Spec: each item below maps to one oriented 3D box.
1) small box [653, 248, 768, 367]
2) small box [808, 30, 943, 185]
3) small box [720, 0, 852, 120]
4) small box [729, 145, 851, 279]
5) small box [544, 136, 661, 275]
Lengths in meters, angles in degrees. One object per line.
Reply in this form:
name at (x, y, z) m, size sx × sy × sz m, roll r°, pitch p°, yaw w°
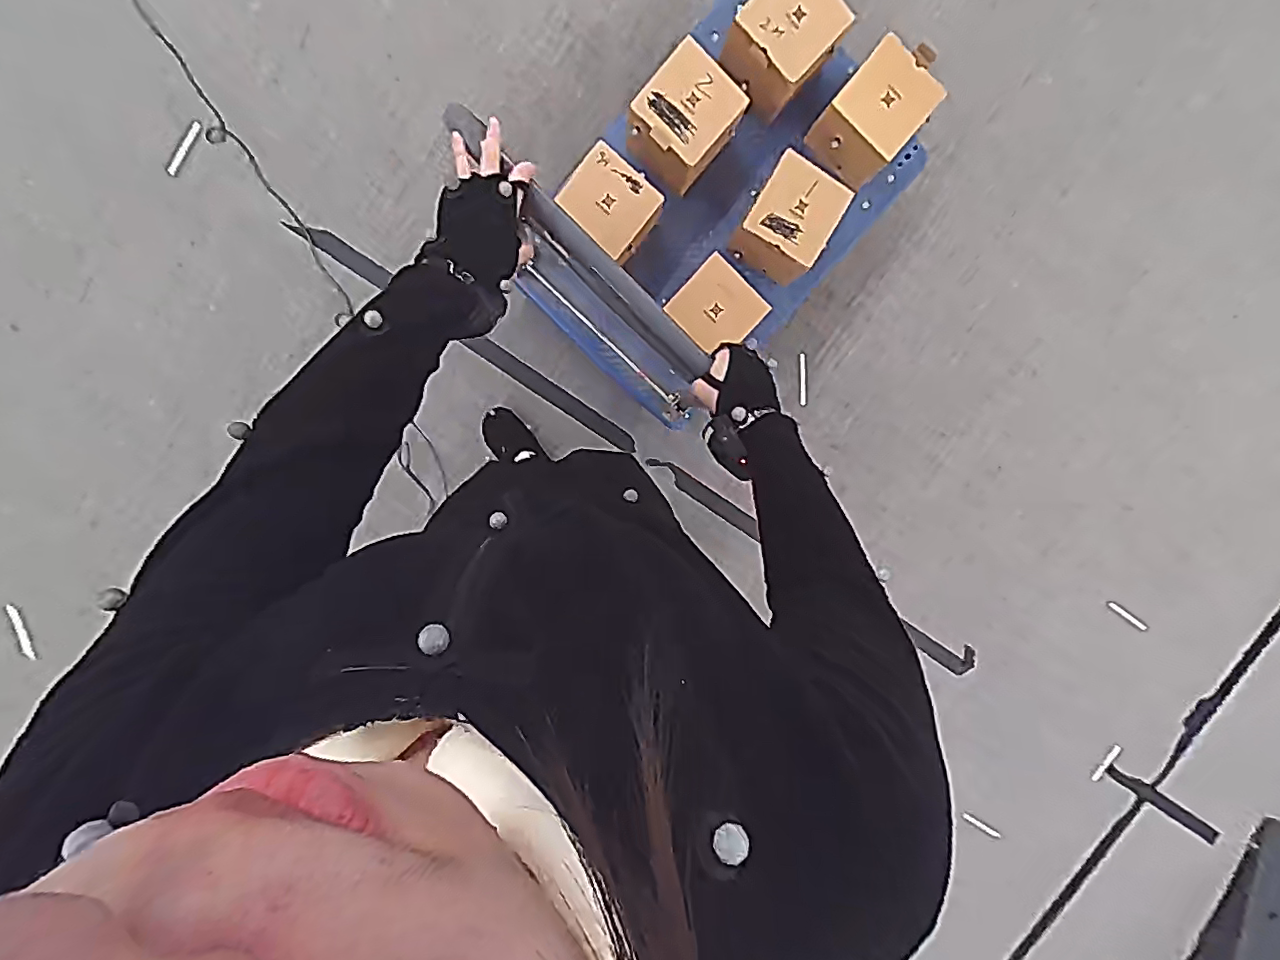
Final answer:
small box at (0.143, -0.365, 1.185) m, size 0.168 × 0.176 × 0.179 m, roll 43°, pitch 93°, yaw -10°
small box at (0.482, -0.772, 1.146) m, size 0.168 × 0.176 × 0.179 m, roll 40°, pitch 94°, yaw -9°
small box at (0.288, -0.900, 1.110) m, size 0.179 × 0.176 × 0.168 m, roll -45°, pitch 99°, yaw 4°
small box at (0.310, -0.562, 1.165) m, size 0.168 × 0.176 × 0.179 m, roll 30°, pitch 94°, yaw -8°
small box at (-0.077, -0.560, 1.135) m, size 0.168 × 0.176 × 0.179 m, roll 39°, pitch 94°, yaw -10°
